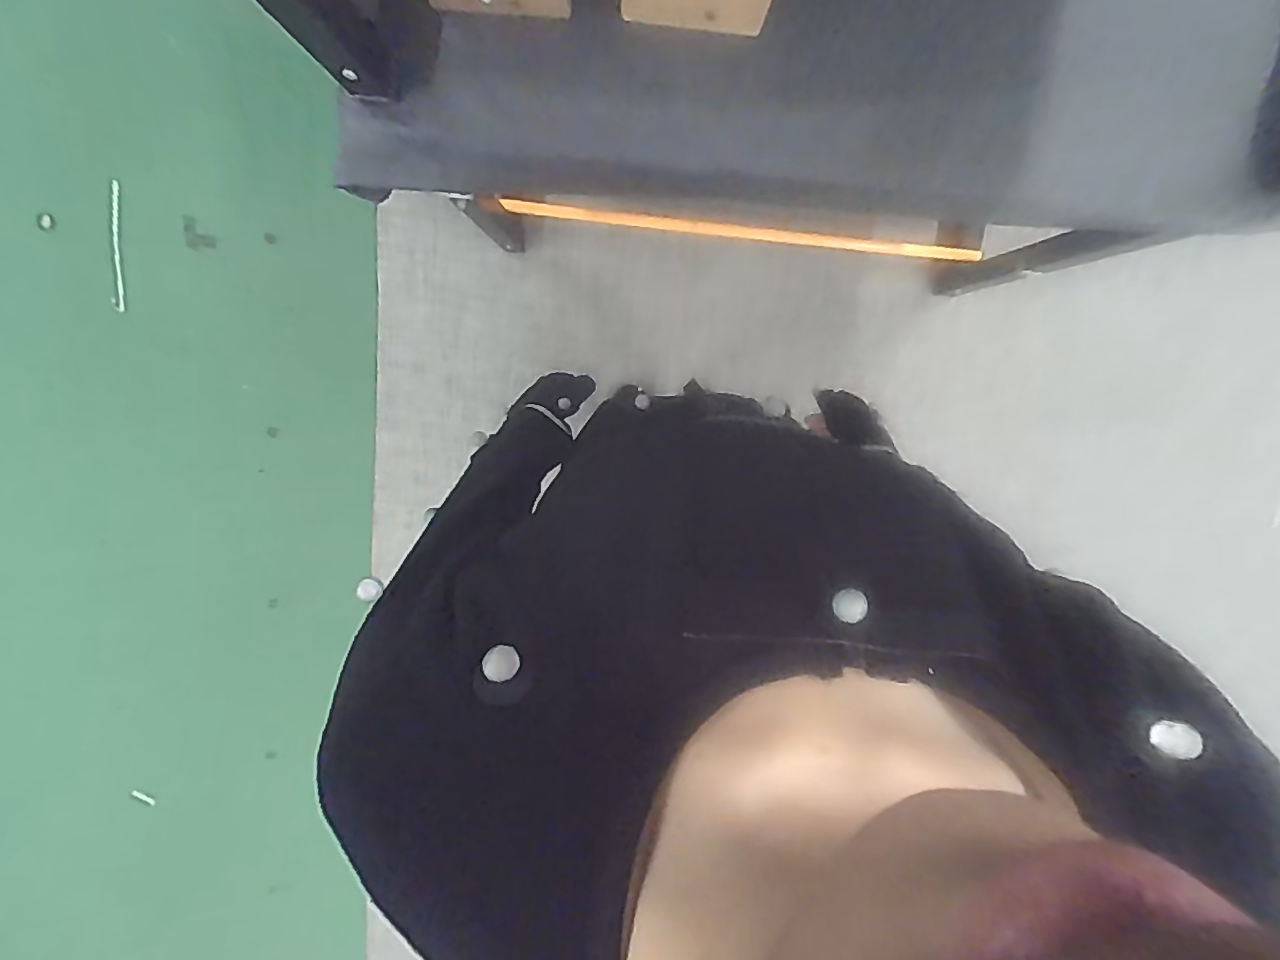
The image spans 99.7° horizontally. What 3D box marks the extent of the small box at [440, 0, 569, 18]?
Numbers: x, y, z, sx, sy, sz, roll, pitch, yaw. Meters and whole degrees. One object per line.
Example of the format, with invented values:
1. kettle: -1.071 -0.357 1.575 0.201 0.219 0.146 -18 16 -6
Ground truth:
1. small box: -0.158 -0.622 0.542 0.168 0.176 0.179 3 101 -1

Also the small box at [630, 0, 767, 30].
1. small box: 0.069 -0.607 0.548 0.168 0.176 0.179 5 100 -1
